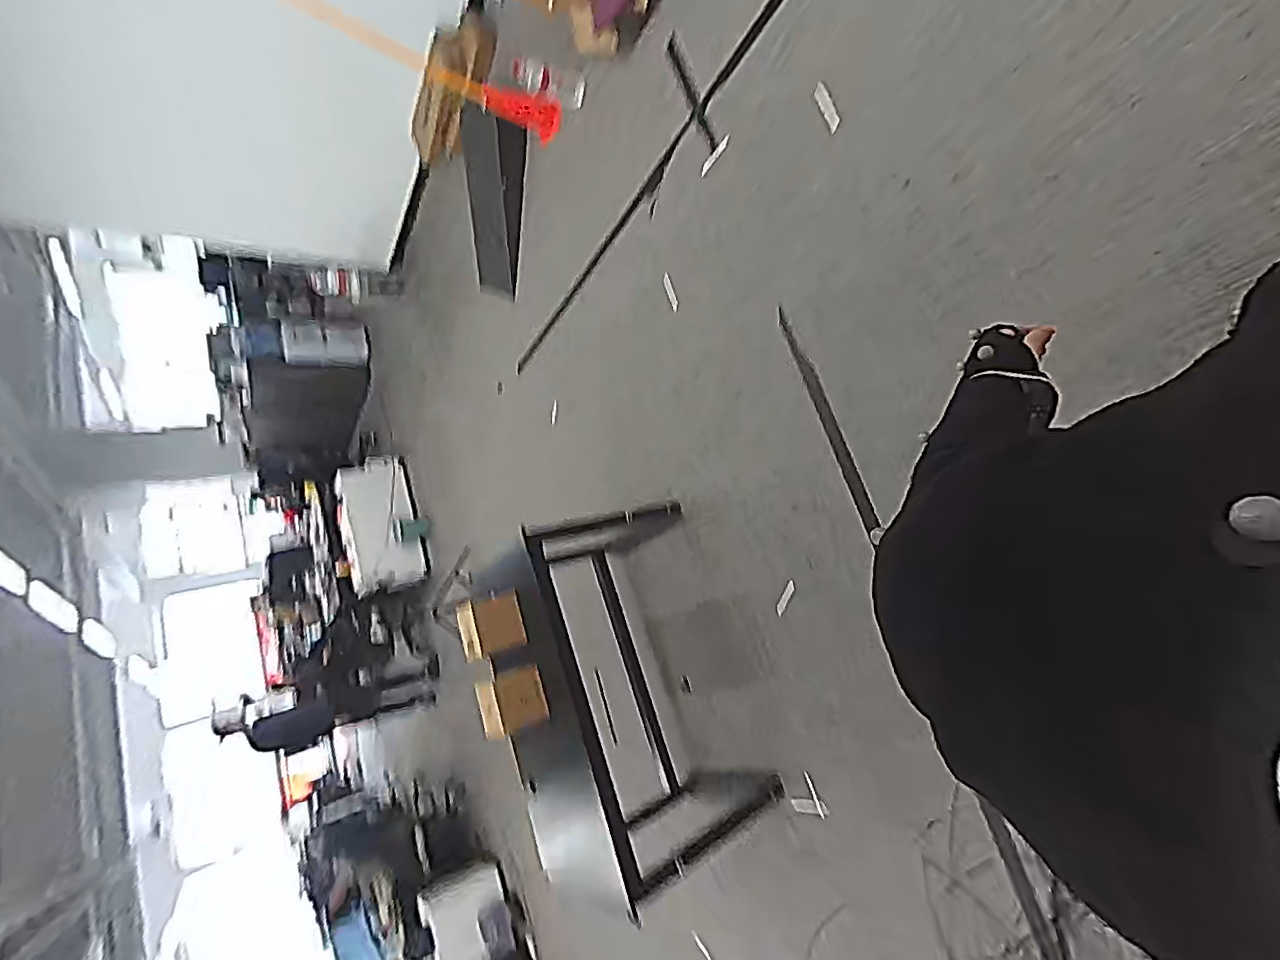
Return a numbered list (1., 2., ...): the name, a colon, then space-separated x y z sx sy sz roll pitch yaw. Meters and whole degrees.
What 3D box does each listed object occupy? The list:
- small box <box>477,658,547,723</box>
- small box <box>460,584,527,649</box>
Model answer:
1. small box: -0.433 0.720 1.854 0.179 0.176 0.168 -32 72 50
2. small box: -0.518 0.482 1.918 0.168 0.176 0.179 -31 72 50
